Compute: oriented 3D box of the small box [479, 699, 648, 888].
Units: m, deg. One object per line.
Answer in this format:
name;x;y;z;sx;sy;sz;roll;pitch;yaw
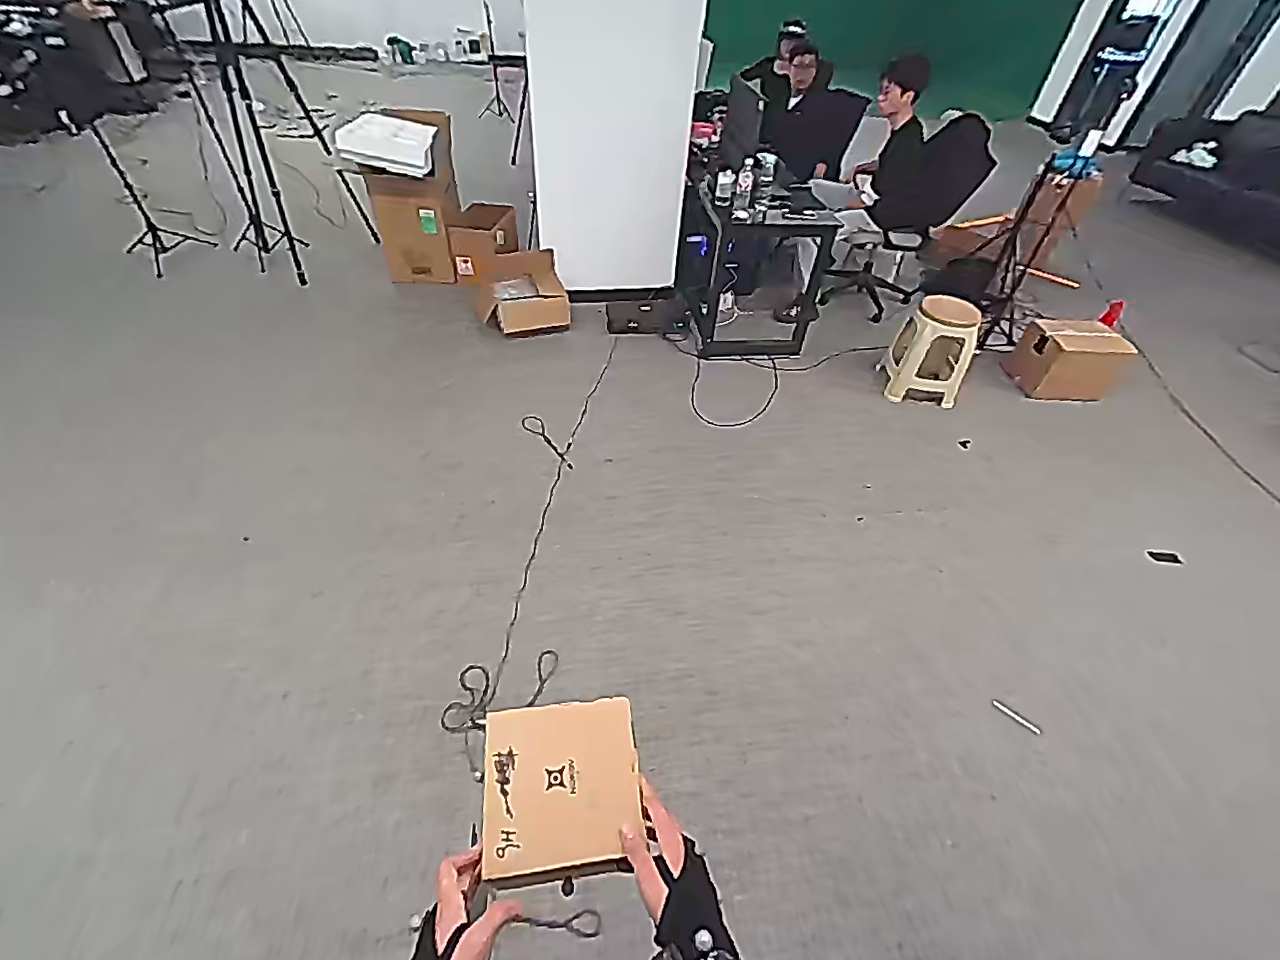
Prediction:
small box;-0.097;0.386;0.666;0.179;0.176;0.168;-2;50;-10
